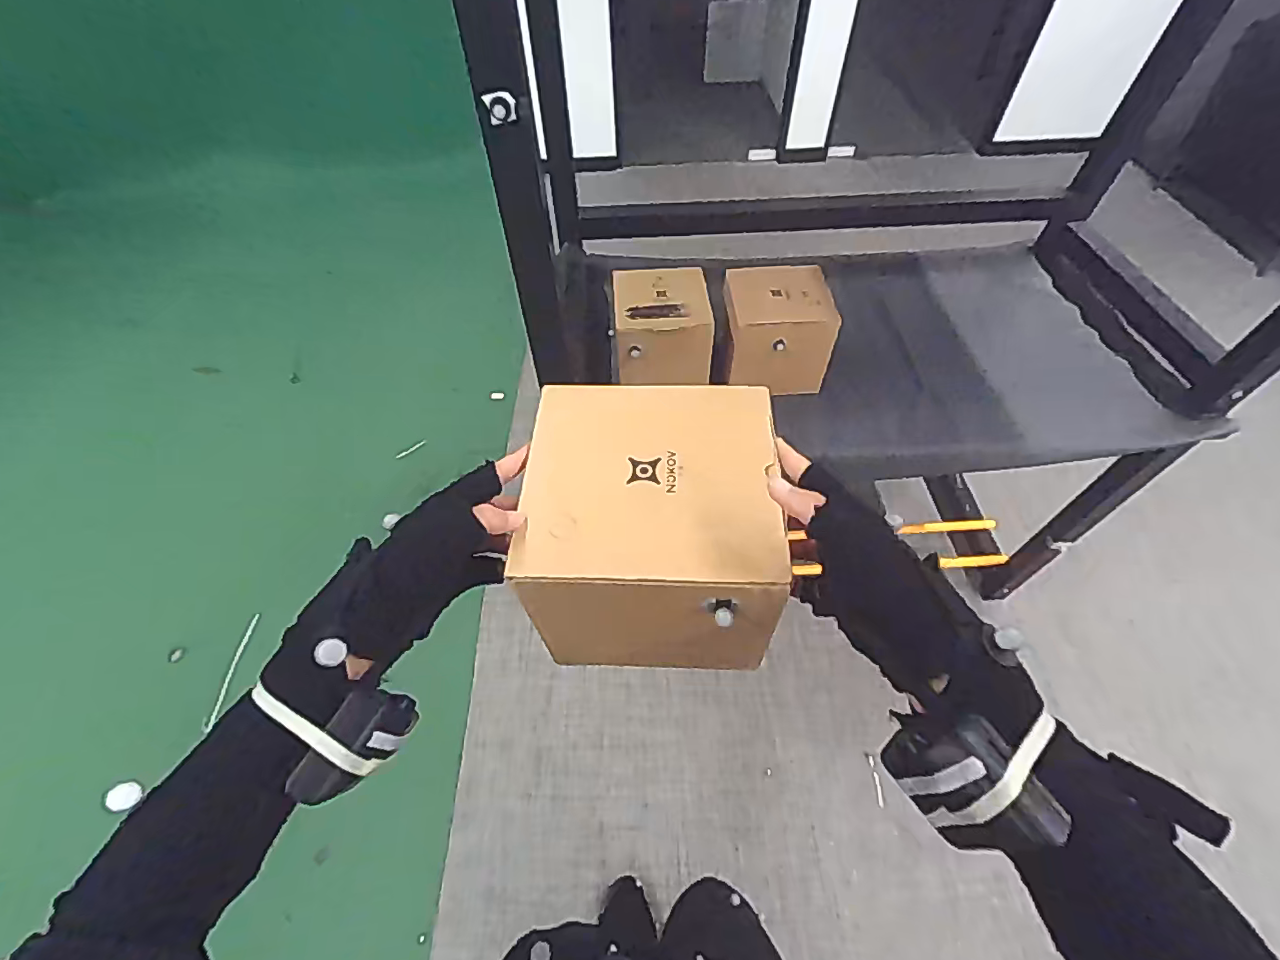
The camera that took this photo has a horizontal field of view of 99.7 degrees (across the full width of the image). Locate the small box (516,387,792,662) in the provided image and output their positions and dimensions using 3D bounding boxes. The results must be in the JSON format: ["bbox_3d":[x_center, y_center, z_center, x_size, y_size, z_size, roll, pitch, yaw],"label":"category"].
[{"bbox_3d":[0.014,0.042,0.445,0.179,0.176,0.168,1,54,2],"label":"small box"}]
